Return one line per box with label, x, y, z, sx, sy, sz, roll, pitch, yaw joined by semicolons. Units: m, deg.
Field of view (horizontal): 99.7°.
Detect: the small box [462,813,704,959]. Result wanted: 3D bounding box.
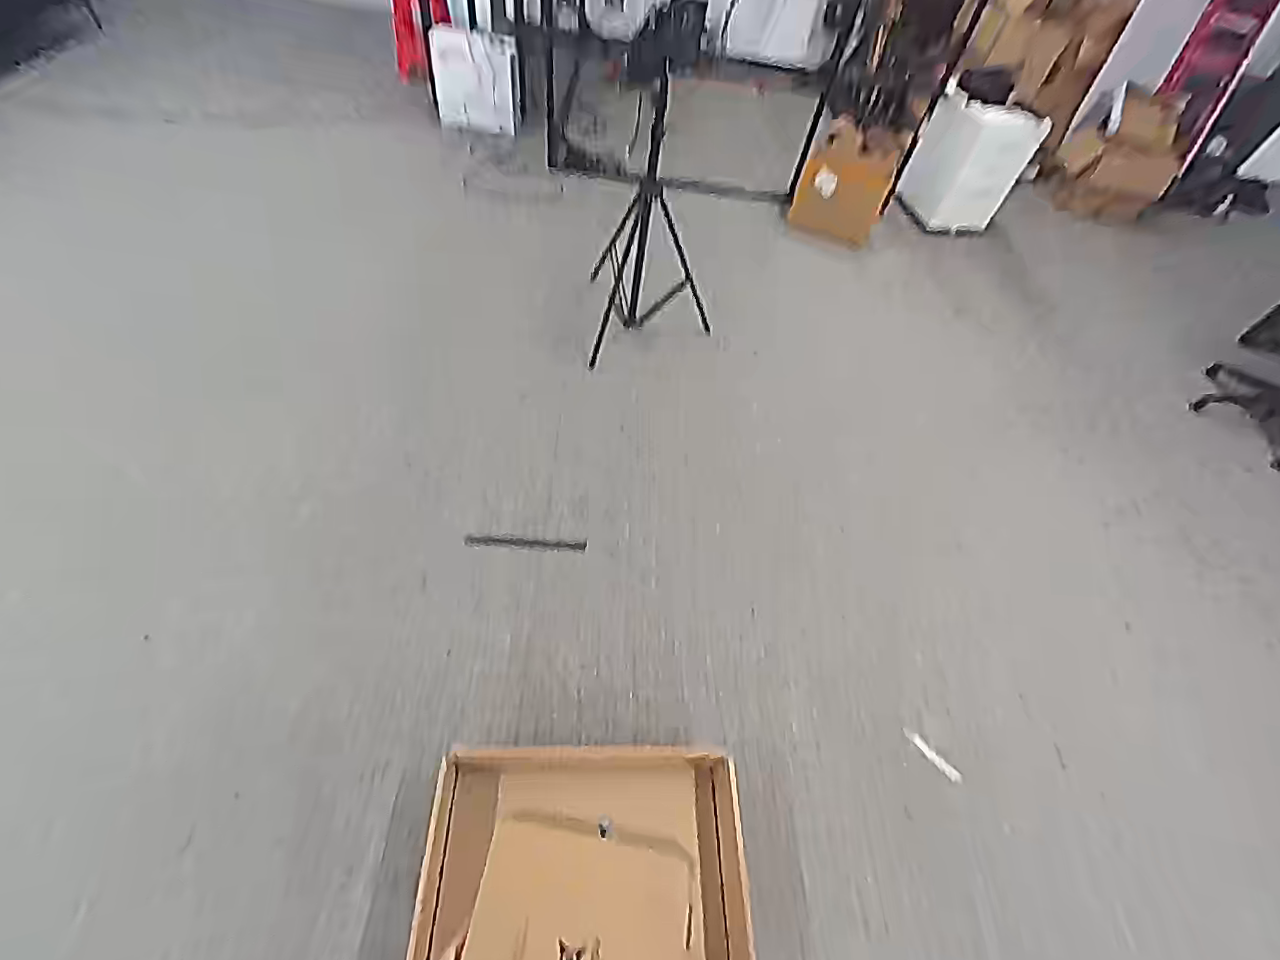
small box;-0.052;0.403;0.475;0.179;0.176;0.168;10;60;2
